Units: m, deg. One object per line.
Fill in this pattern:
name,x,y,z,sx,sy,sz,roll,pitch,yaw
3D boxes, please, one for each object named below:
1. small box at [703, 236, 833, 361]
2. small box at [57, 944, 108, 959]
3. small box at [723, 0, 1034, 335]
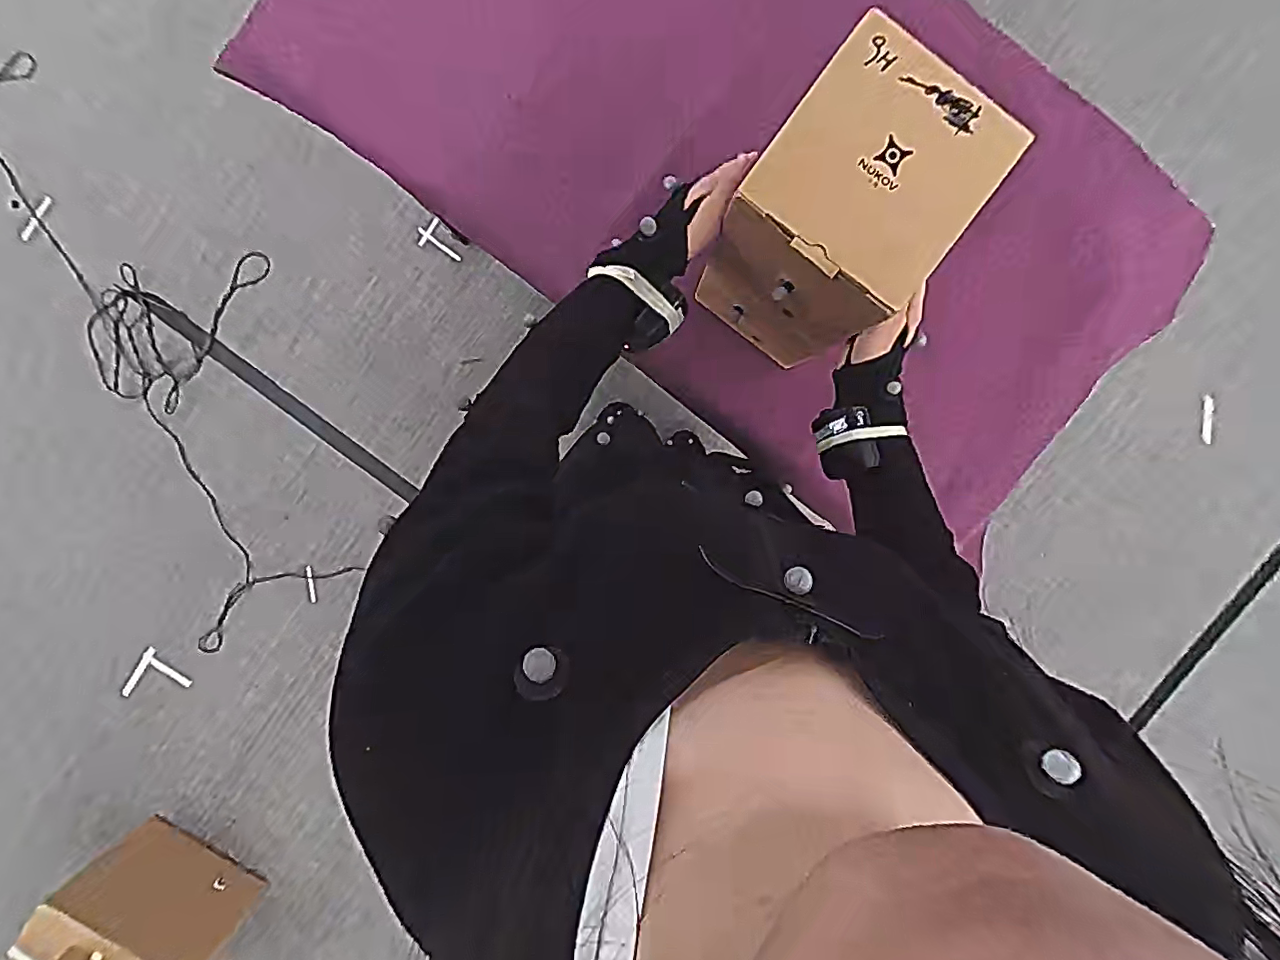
small box,0.191,-0.268,0.668,0.168,0.176,0.179,37,94,-3
small box,-1.363,1.254,1.256,0.168,0.176,0.179,33,94,-3
small box,0.194,-0.259,0.503,0.168,0.176,0.179,37,95,-4
